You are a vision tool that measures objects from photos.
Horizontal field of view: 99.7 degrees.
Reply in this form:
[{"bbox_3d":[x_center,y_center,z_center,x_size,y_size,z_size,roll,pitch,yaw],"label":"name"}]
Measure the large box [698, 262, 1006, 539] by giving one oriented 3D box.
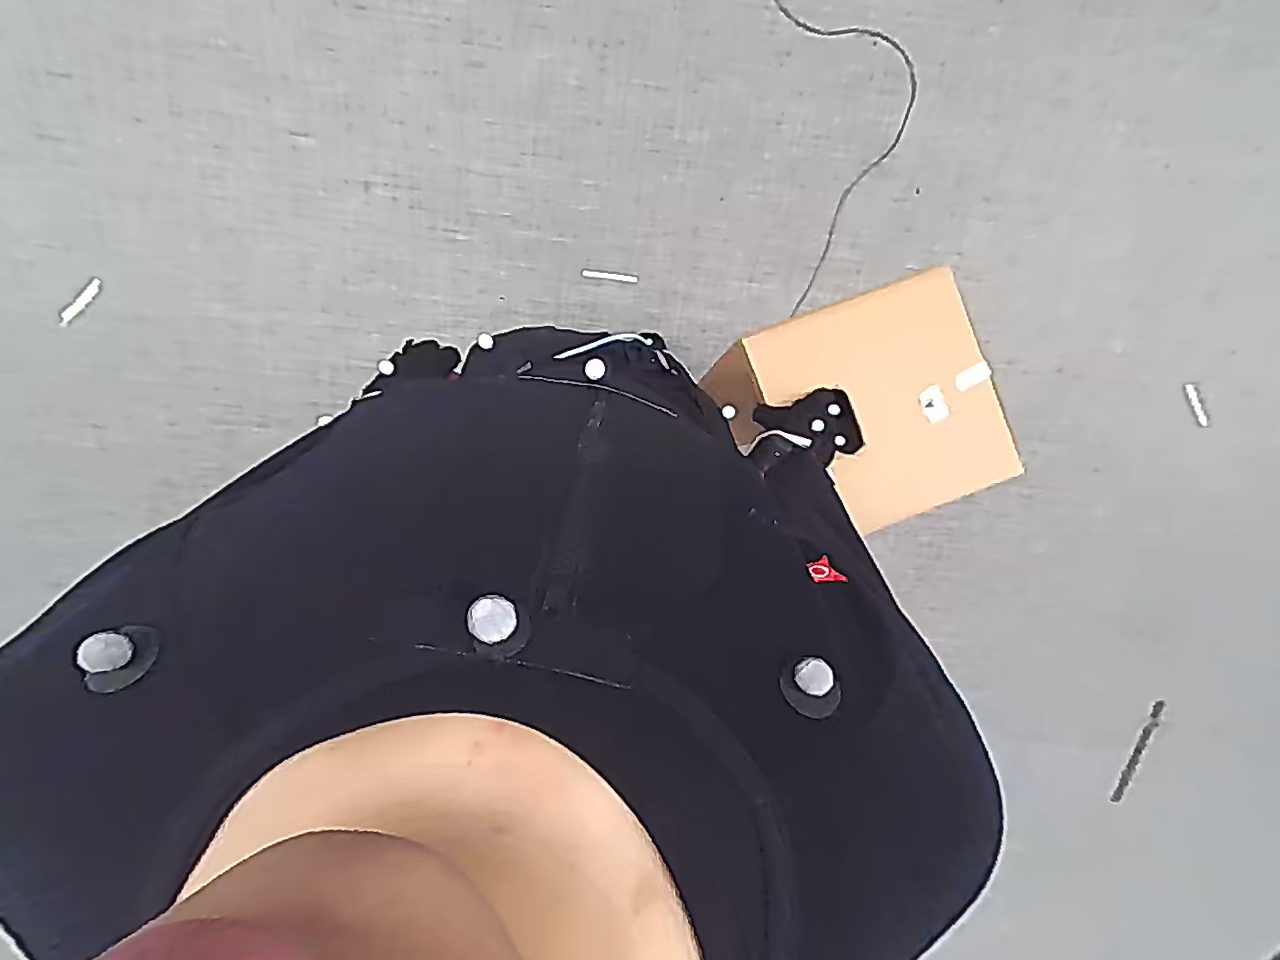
[{"bbox_3d":[0.321,-0.115,0.945,0.320,0.408,0.320,-21,91,-1],"label":"large box"}]
